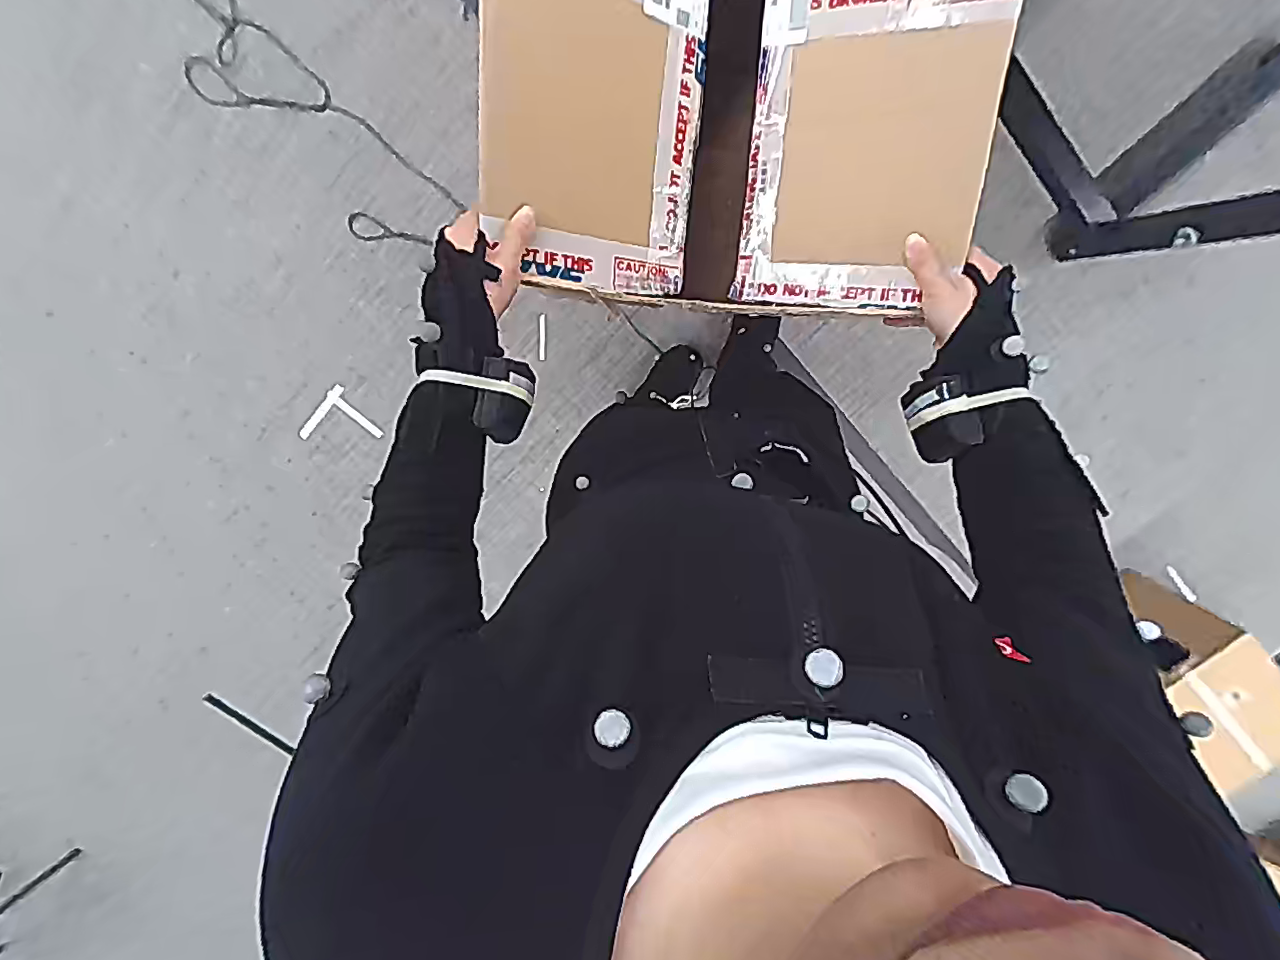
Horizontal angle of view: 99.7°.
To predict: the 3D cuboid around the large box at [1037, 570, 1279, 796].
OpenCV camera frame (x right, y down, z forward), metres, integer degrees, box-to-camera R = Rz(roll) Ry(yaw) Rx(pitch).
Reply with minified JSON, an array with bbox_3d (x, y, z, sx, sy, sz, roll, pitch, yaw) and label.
[{"bbox_3d":[1.382,0.519,1.422,0.408,0.320,0.320,43,101,-12],"label":"large box"}]
